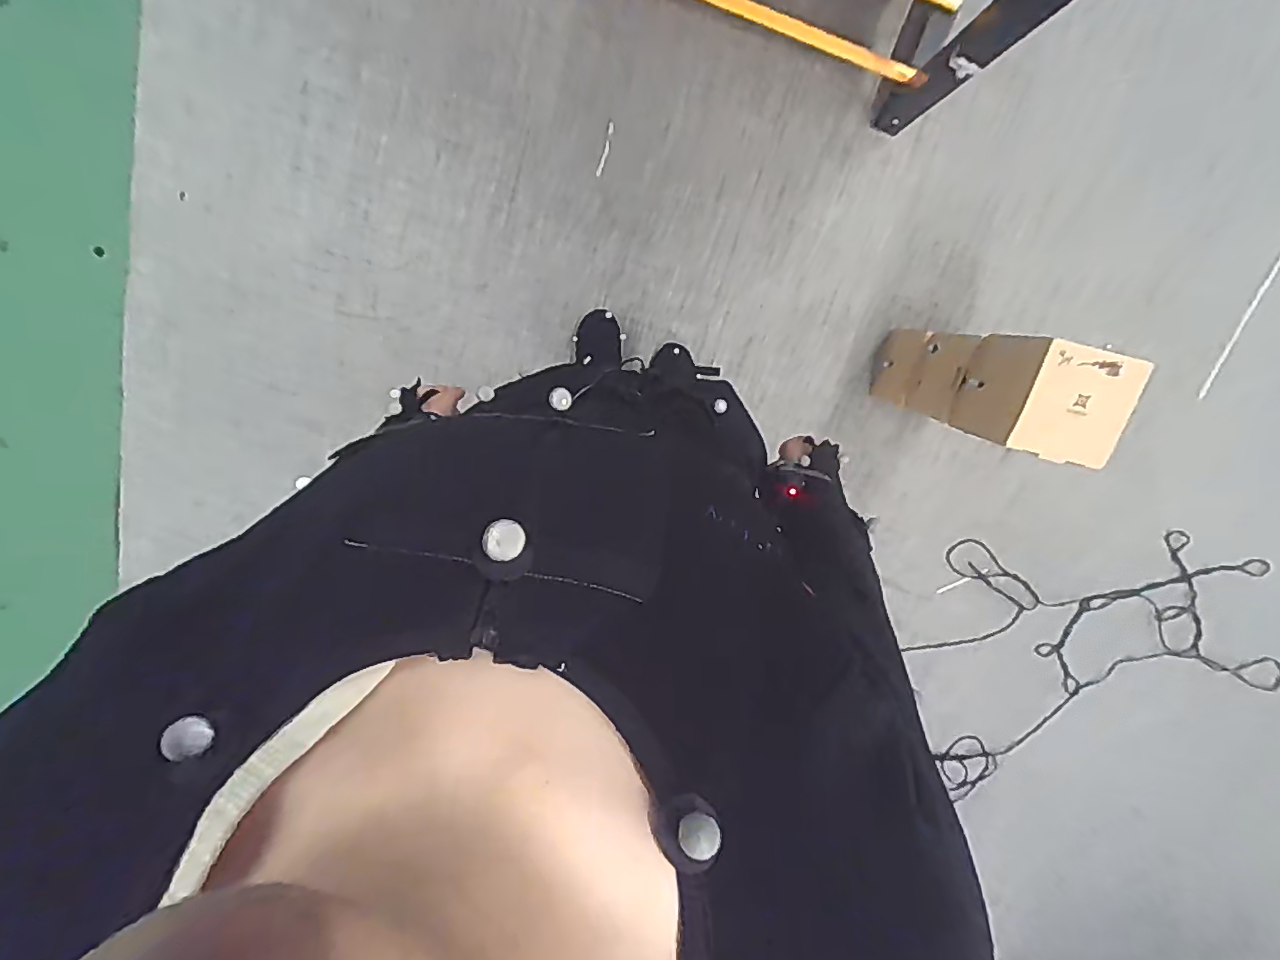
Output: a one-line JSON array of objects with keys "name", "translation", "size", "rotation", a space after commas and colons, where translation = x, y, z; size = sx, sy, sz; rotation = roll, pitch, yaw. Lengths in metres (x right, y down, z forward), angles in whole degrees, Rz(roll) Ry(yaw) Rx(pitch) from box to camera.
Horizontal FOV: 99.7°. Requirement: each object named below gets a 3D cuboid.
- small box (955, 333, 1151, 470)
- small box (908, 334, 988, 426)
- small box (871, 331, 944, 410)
[{"name": "small box", "translation": [0.669, -0.138, 0.906], "size": [0.168, 0.176, 0.179], "rotation": [14, 107, -4]}, {"name": "small box", "translation": [0.666, -0.186, 1.062], "size": [0.179, 0.176, 0.168], "rotation": [13, 107, -4]}, {"name": "small box", "translation": [0.657, -0.237, 1.218], "size": [0.179, 0.176, 0.168], "rotation": [13, 106, -2]}]
